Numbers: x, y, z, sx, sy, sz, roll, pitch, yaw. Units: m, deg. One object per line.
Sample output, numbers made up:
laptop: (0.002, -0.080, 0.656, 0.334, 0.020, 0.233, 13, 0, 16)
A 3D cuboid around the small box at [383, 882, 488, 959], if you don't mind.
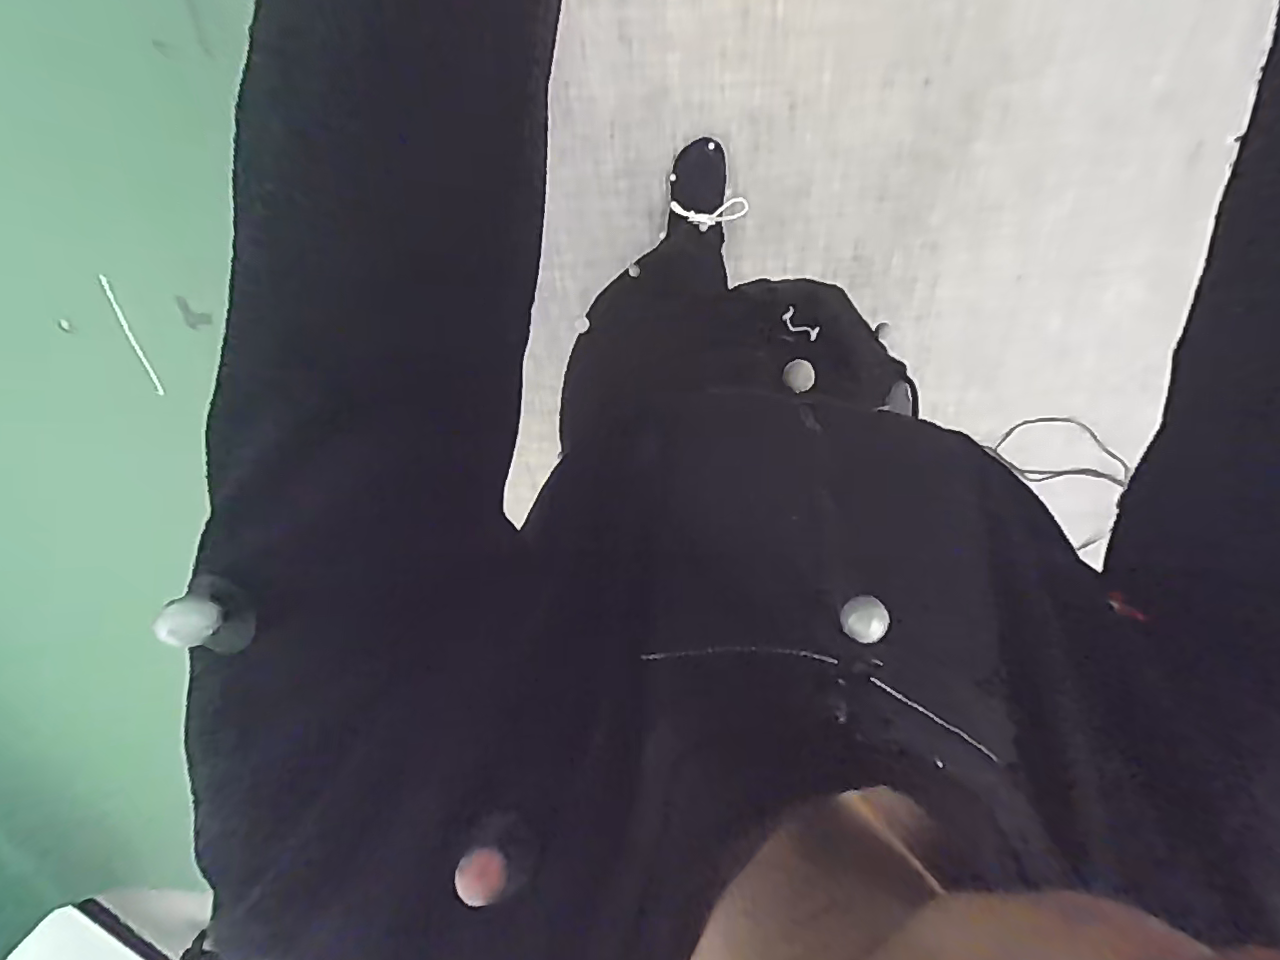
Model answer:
small box: (-0.449, 1.032, 1.205, 0.179, 0.176, 0.168, 5, 120, 4)
